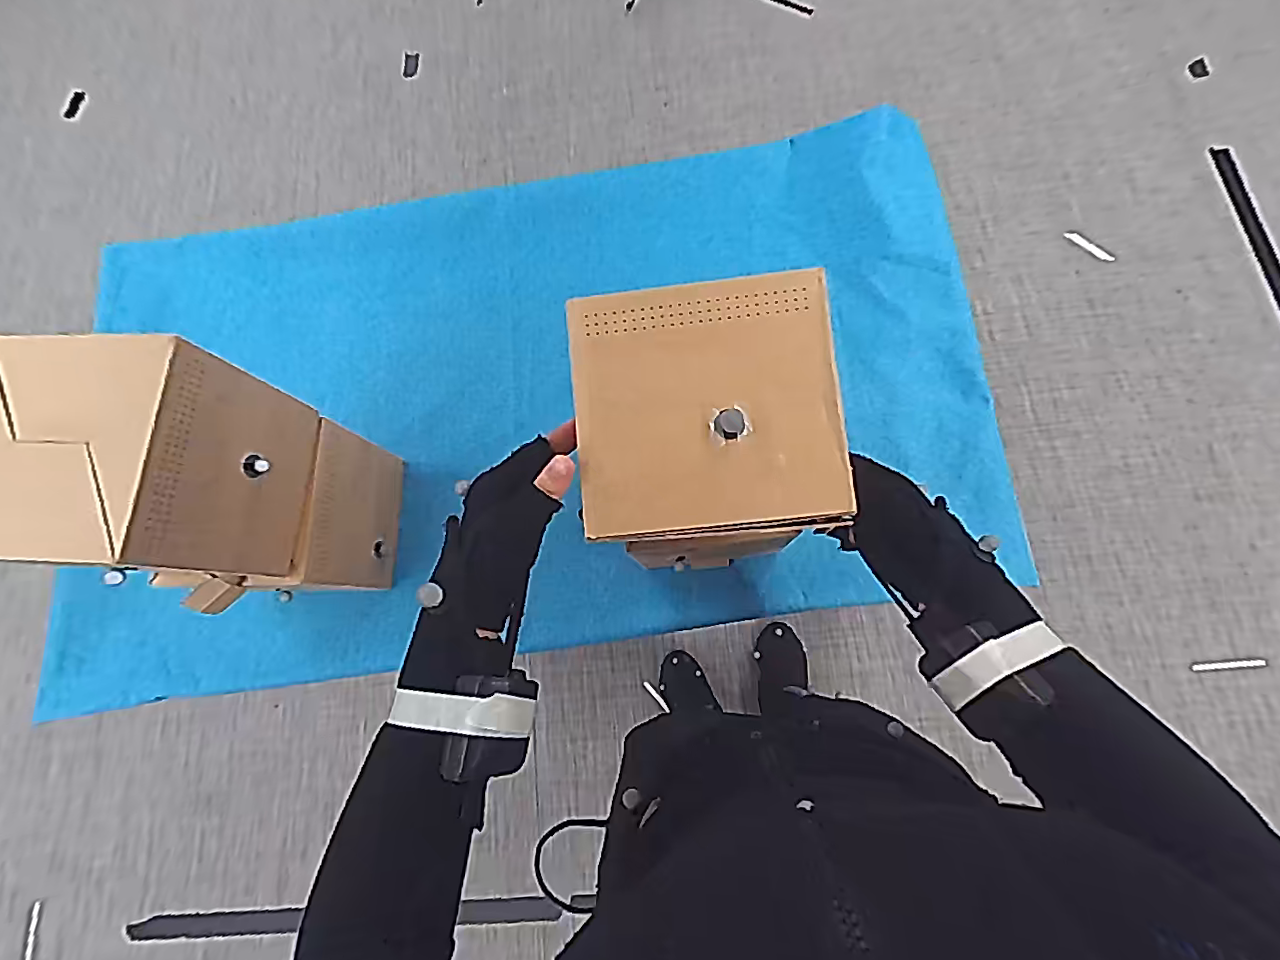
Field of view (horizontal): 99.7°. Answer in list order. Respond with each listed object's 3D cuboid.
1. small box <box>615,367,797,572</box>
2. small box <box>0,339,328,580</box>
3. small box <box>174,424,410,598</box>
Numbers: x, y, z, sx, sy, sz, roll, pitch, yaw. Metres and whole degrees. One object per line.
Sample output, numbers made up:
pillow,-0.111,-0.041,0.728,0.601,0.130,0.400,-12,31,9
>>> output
small box,0.070,-0.001,0.605,0.168,0.176,0.179,-8,75,4
small box,-0.421,-0.005,0.483,0.168,0.176,0.179,1,78,6
small box,-0.397,0.045,0.638,0.168,0.176,0.179,-2,76,4
